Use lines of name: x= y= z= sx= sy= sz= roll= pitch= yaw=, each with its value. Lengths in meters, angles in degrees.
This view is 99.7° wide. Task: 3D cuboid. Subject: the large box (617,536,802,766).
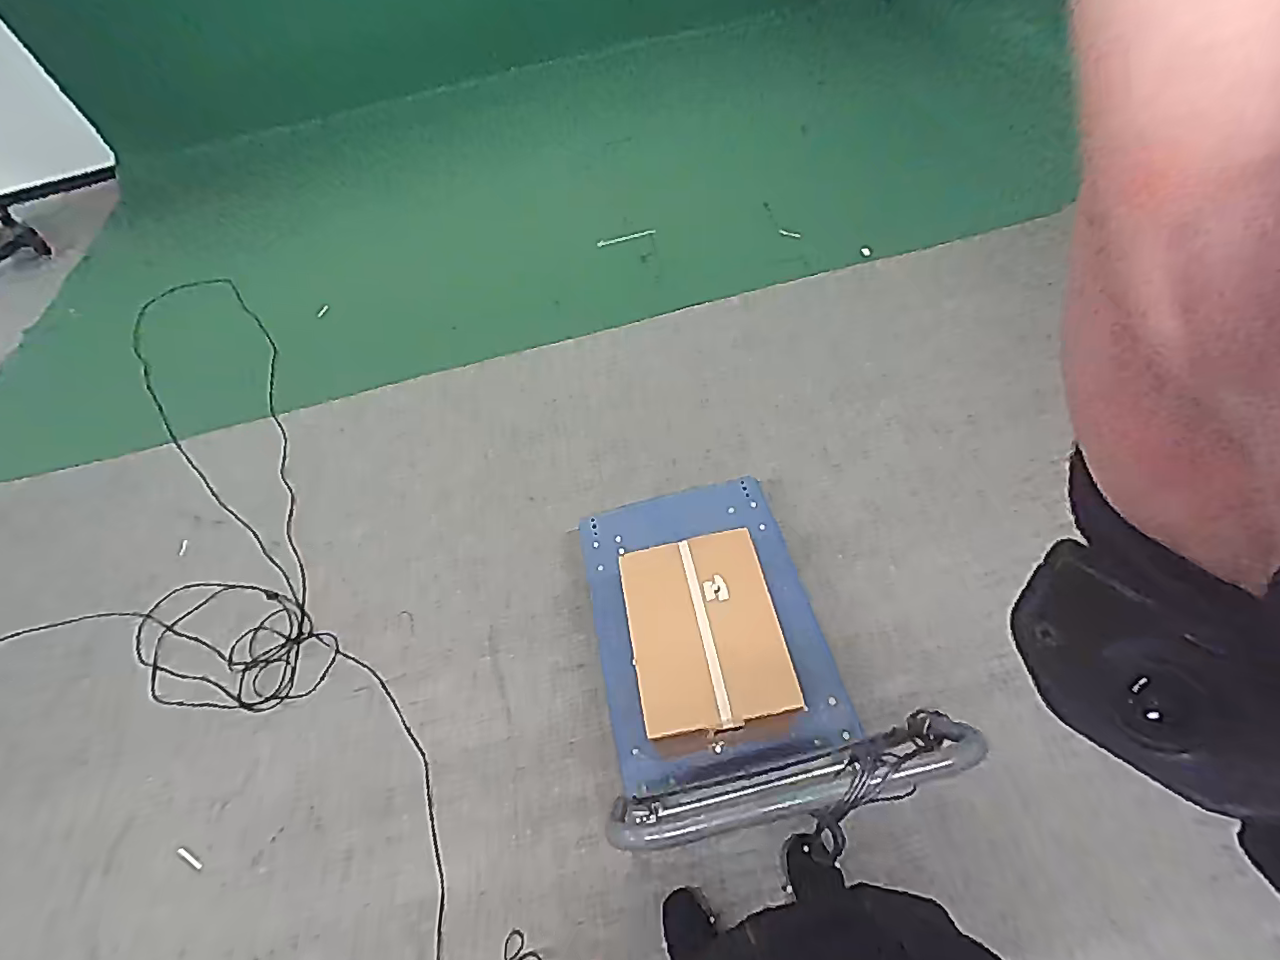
large box: x=0.151 y=0.405 z=1.272 sx=0.320 sy=0.320 sz=0.408 roll=-12 pitch=54 yaw=0
